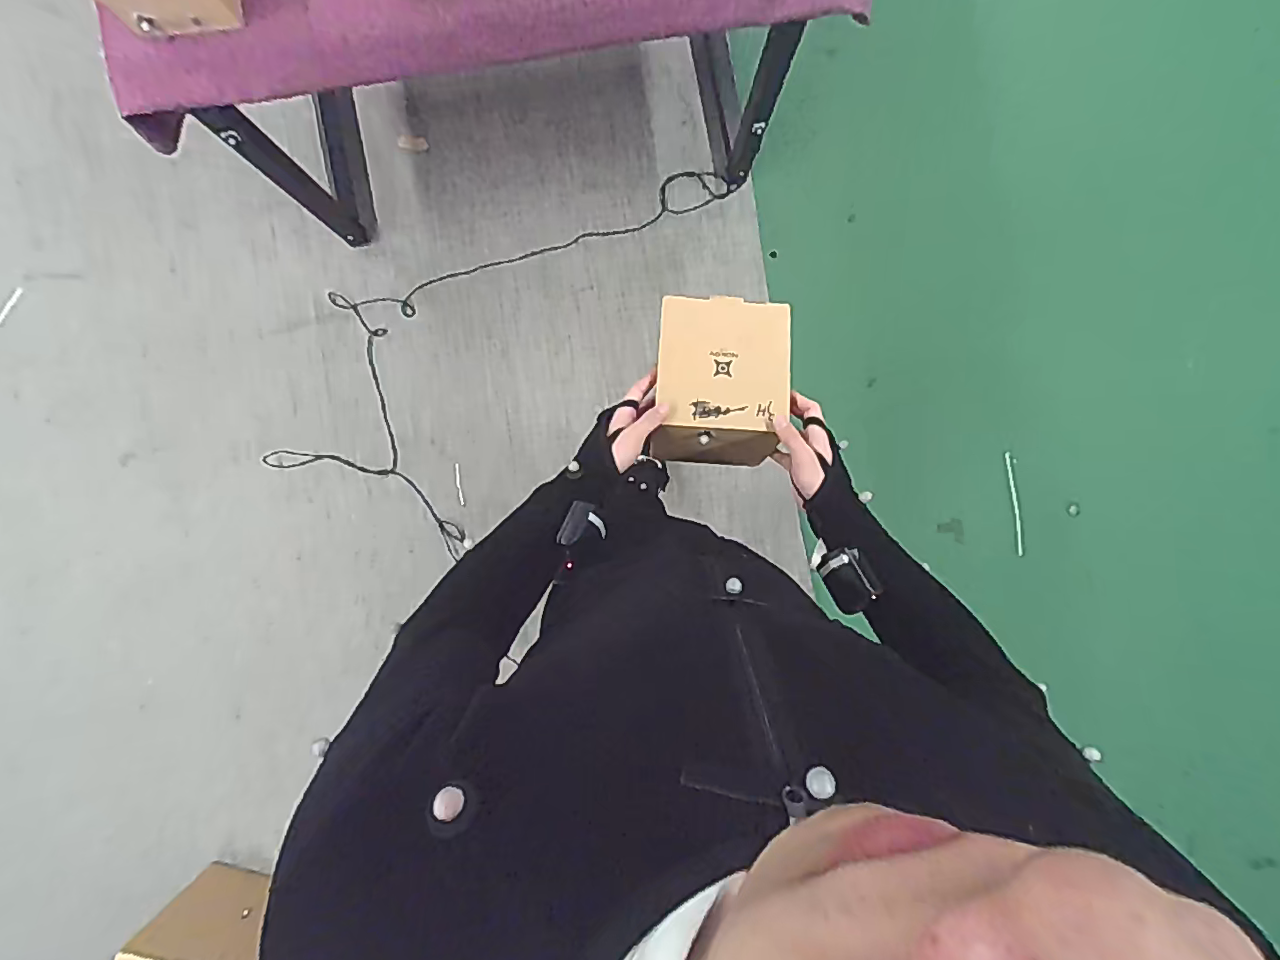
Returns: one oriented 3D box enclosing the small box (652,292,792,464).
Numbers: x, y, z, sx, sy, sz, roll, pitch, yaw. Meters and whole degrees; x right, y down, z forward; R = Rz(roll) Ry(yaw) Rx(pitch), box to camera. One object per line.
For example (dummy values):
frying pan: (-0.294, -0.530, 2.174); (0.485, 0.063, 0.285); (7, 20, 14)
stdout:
small box: (0.105, -0.132, 0.746); (0.168, 0.176, 0.179); (4, 78, 1)

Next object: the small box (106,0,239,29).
small box: (-0.715, -0.792, 0.774); (0.168, 0.176, 0.179); (-7, 89, -2)

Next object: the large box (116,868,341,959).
large box: (-1.111, 1.333, 1.455); (0.408, 0.320, 0.320); (15, 91, -3)
